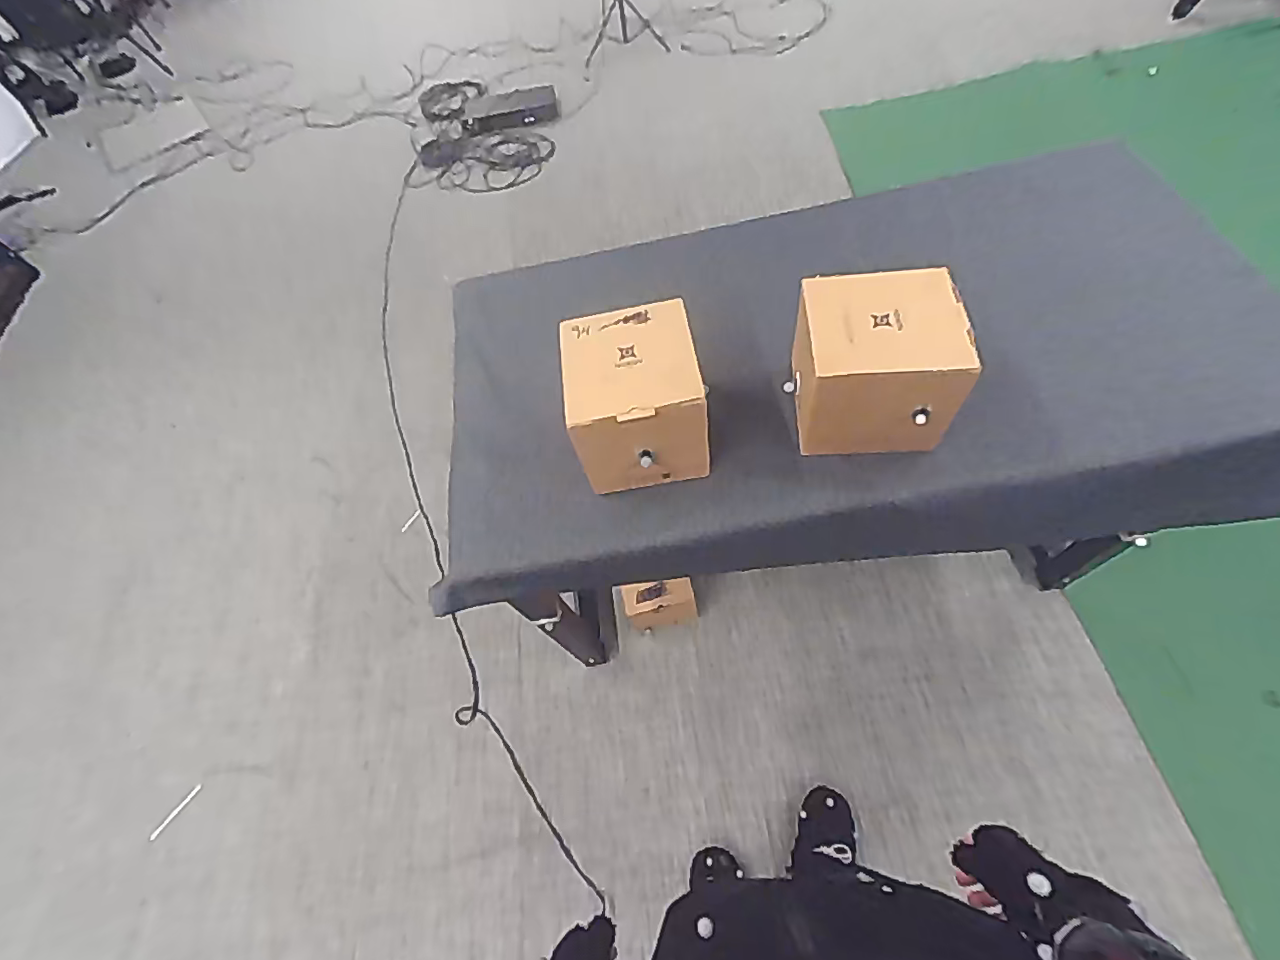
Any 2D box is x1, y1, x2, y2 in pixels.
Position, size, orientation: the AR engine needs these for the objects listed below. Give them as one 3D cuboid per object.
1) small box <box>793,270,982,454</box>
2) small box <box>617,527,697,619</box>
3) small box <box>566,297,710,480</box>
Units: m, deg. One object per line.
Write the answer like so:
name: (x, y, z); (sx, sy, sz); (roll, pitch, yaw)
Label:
small box: (0.304, -0.146, 0.707); (0.179, 0.176, 0.168); (-2, 60, 9)
small box: (0.045, 0.244, 1.372); (0.168, 0.176, 0.179); (-13, 60, 1)
small box: (0.001, -0.112, 0.733); (0.168, 0.176, 0.179); (-9, 60, 3)
